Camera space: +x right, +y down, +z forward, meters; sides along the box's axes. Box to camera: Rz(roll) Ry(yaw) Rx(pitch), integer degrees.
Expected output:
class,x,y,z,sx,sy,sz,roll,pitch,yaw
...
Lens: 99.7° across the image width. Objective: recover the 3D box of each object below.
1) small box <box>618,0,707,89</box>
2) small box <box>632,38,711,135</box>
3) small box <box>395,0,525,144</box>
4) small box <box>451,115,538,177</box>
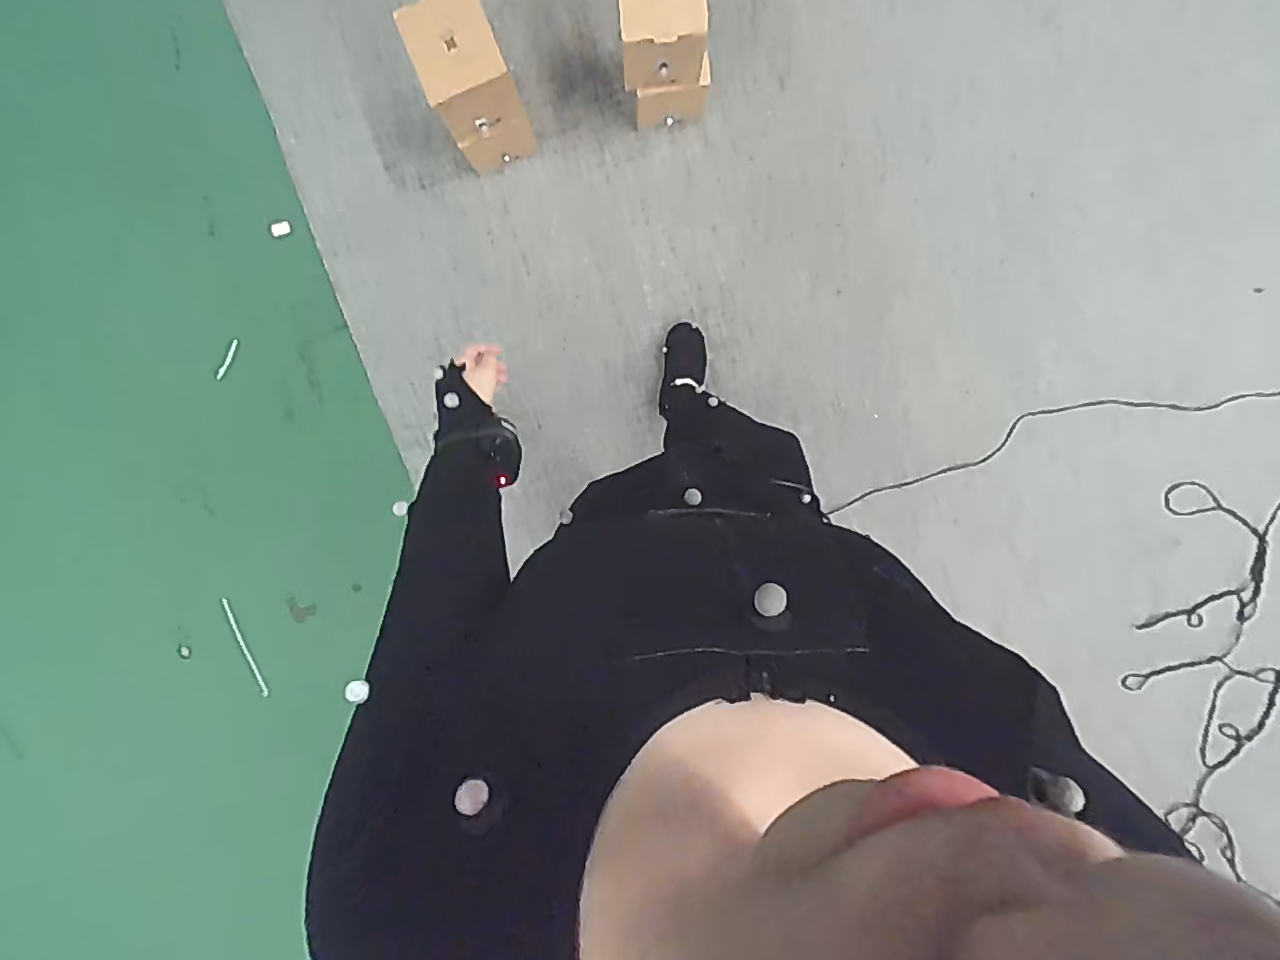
class,x,y,z,sx,sy,sz,roll,pitch,yaw
small box,0.042,-0.913,1.076,0.168,0.176,0.179,-4,99,1
small box,0.064,-0.932,1.238,0.168,0.176,0.179,-8,99,2
small box,-0.353,-0.829,1.093,0.168,0.176,0.179,-21,98,4
small box,-0.356,-0.847,1.254,0.168,0.176,0.179,-22,98,4
